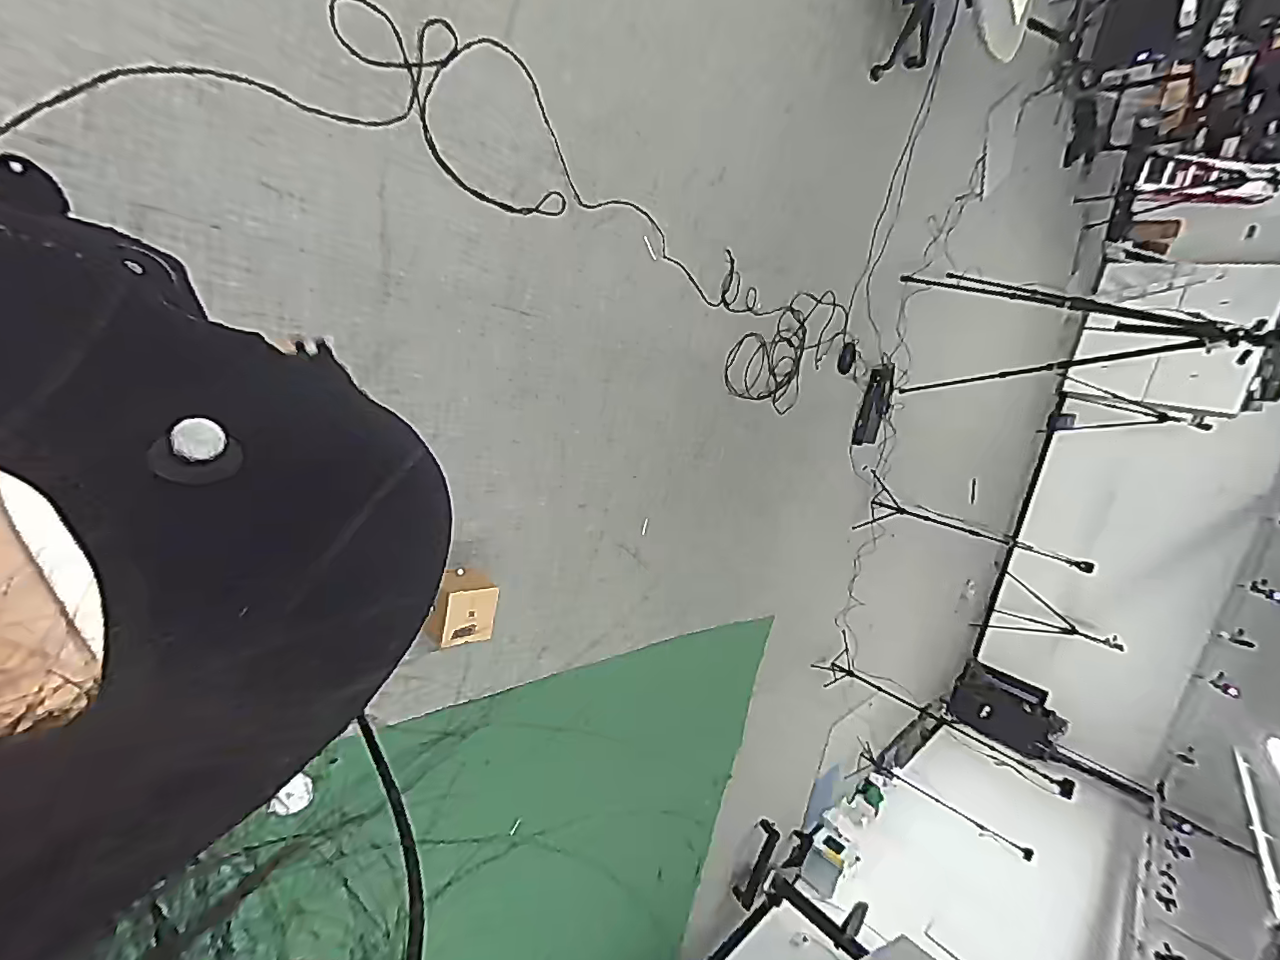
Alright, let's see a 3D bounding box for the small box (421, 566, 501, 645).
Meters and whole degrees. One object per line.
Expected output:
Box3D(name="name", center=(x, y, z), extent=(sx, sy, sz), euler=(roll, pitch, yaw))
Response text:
Box3D(name="small box", center=(-0.556, 0.379, 1.663), extent=(0.168, 0.176, 0.179), euler=(3, 103, -46))
